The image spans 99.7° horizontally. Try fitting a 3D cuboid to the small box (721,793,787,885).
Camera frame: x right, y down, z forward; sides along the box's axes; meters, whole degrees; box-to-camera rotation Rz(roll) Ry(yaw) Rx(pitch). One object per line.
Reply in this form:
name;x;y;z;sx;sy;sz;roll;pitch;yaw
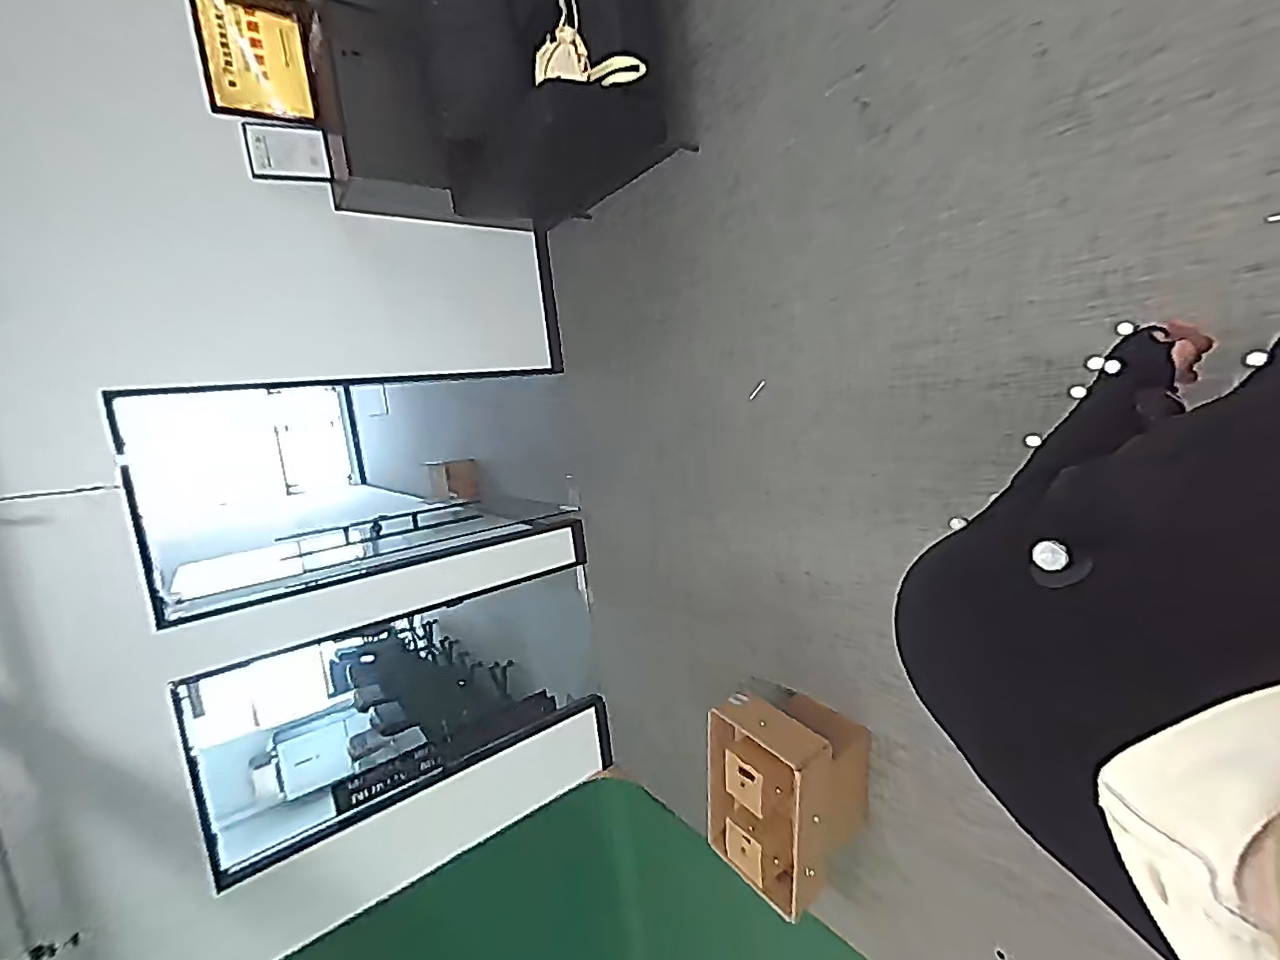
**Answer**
small box;0.409;1.273;1.927;0.168;0.176;0.179;11;109;52
